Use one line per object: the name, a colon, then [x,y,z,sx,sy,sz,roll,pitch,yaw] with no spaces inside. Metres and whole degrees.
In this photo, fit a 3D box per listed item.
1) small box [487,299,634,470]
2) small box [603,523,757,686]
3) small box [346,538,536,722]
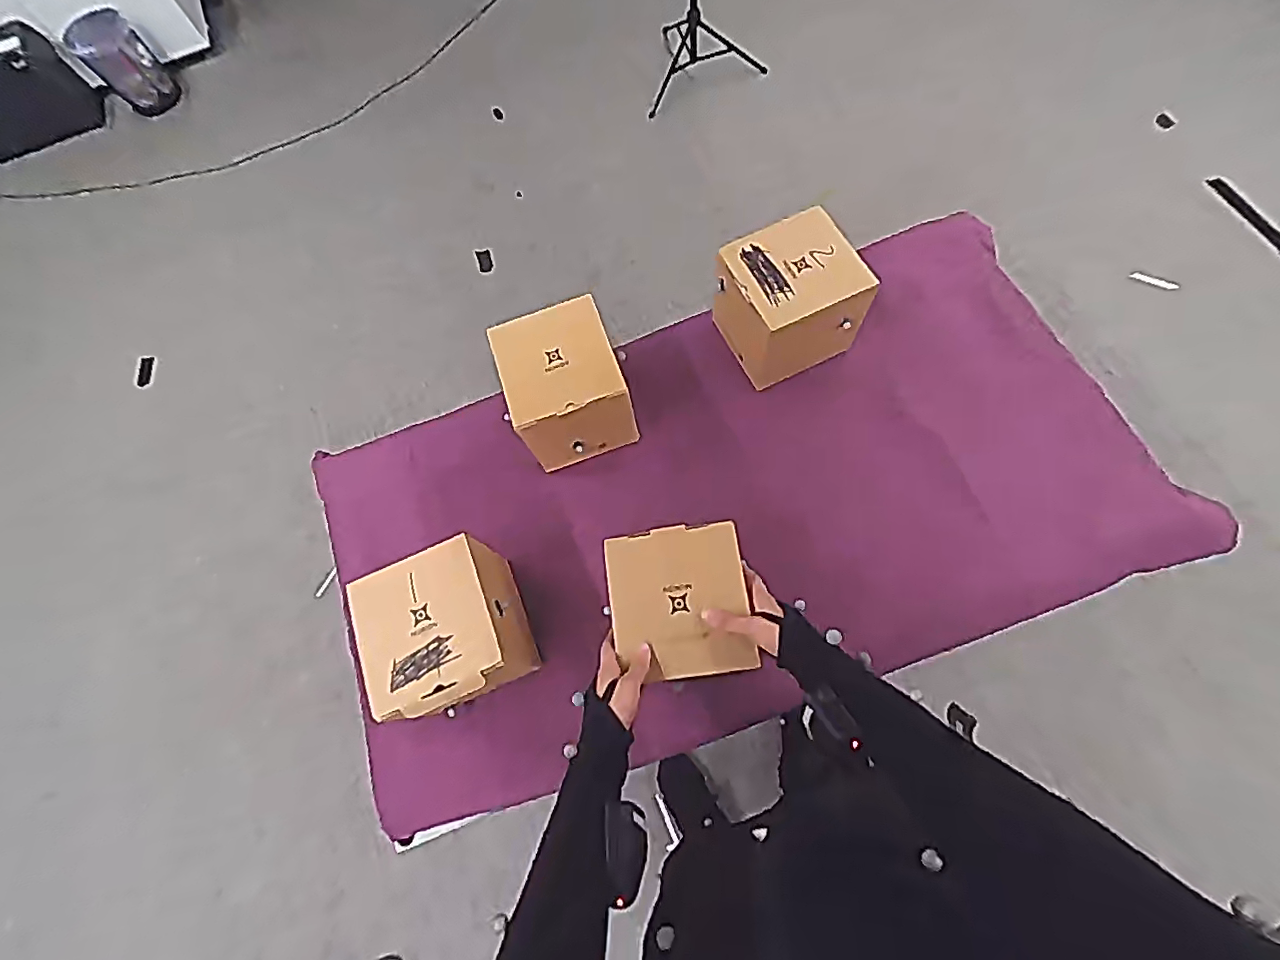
small box: [-0.117,-0.140,0.842,0.168,0.176,0.179,-20,70,-2]
small box: [0.049,0.171,0.716,0.168,0.176,0.179,-9,71,2]
small box: [-0.259,0.205,0.736,0.168,0.176,0.179,-24,68,-3]
